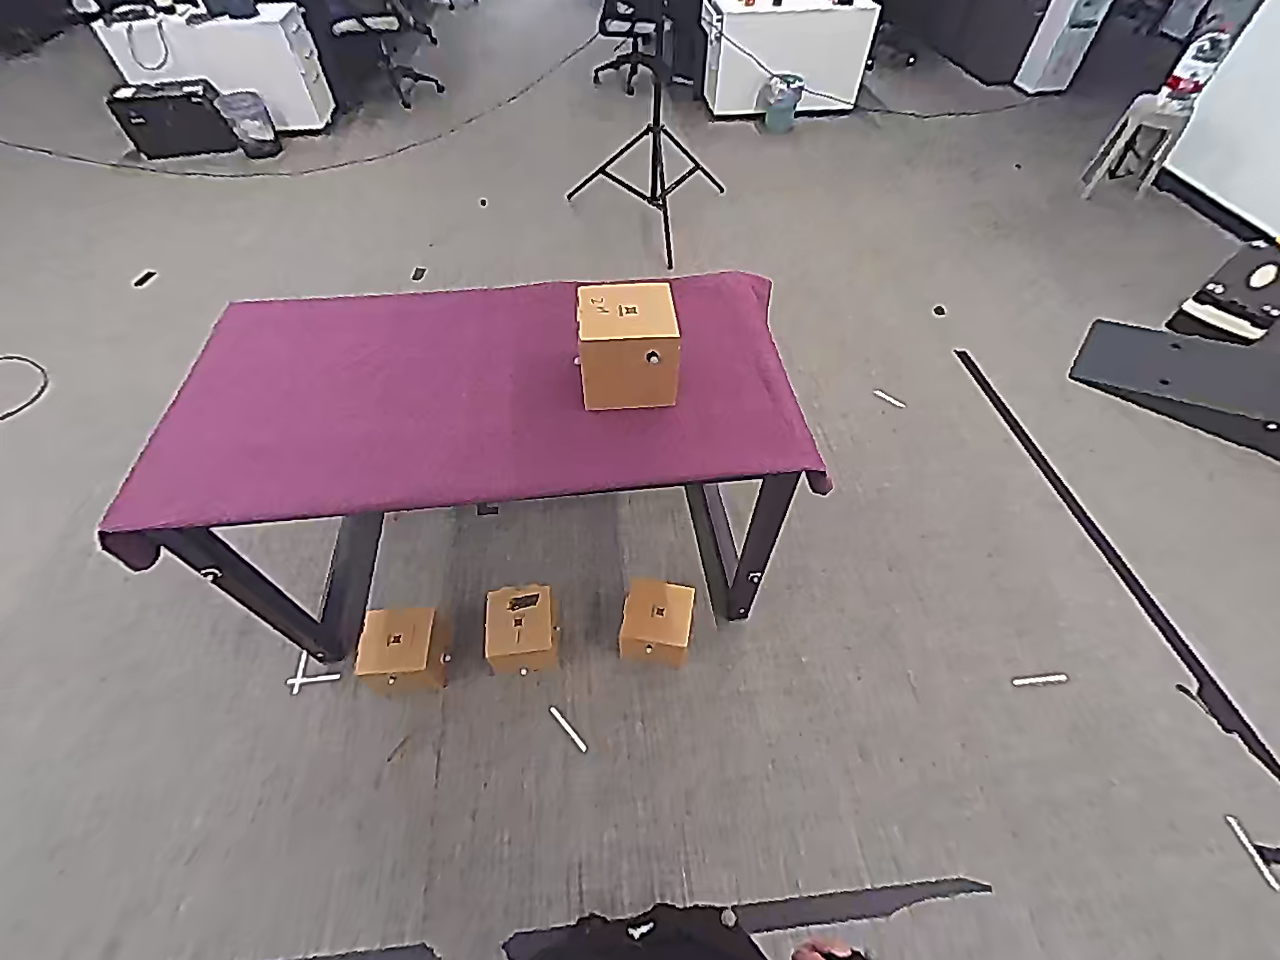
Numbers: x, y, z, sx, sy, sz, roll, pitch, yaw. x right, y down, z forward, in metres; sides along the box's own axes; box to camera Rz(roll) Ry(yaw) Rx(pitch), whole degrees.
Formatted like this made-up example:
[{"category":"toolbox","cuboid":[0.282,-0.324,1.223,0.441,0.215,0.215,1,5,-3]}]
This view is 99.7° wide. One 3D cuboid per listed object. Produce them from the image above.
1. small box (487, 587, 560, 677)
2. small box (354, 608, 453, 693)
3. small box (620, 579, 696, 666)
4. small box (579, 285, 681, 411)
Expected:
[{"category":"small box","cuboid":[-0.306,0.408,1.444,0.168,0.176,0.179,-6,54,-4]},{"category":"small box","cuboid":[-0.607,0.450,1.413,0.179,0.176,0.168,-3,53,-3]},{"category":"small box","cuboid":[0.050,0.390,1.461,0.179,0.176,0.168,8,54,7]},{"category":"small box","cuboid":[-0.022,-0.249,1.029,0.179,0.176,0.168,-4,52,-3]}]
